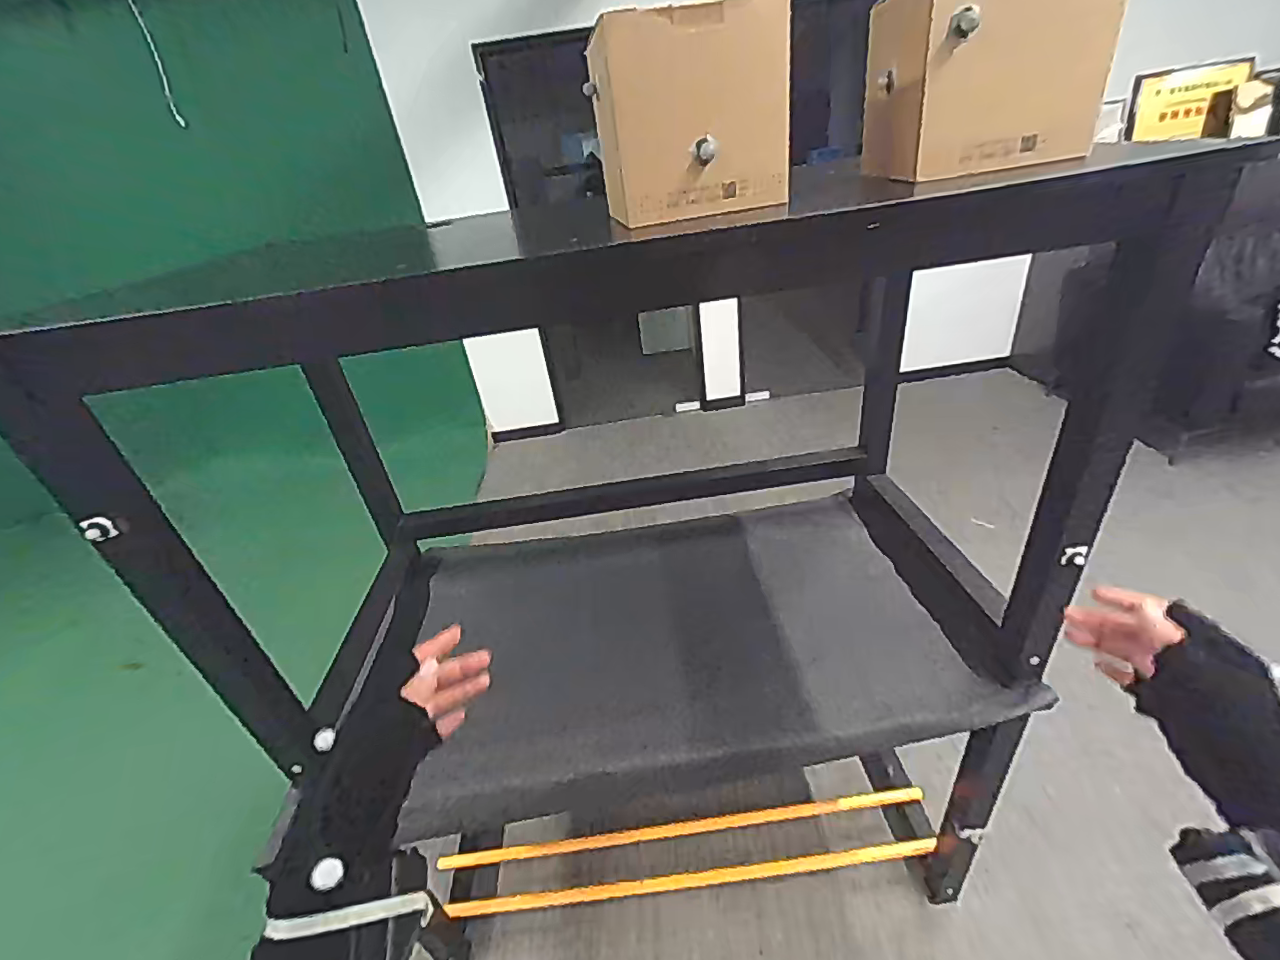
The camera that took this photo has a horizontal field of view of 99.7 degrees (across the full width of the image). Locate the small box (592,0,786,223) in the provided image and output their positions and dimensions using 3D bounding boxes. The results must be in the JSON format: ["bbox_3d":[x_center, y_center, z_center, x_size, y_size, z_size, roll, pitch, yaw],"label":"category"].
[{"bbox_3d":[0.046,-0.379,0.577,0.168,0.176,0.179,-11,31,-3],"label":"small box"}]
